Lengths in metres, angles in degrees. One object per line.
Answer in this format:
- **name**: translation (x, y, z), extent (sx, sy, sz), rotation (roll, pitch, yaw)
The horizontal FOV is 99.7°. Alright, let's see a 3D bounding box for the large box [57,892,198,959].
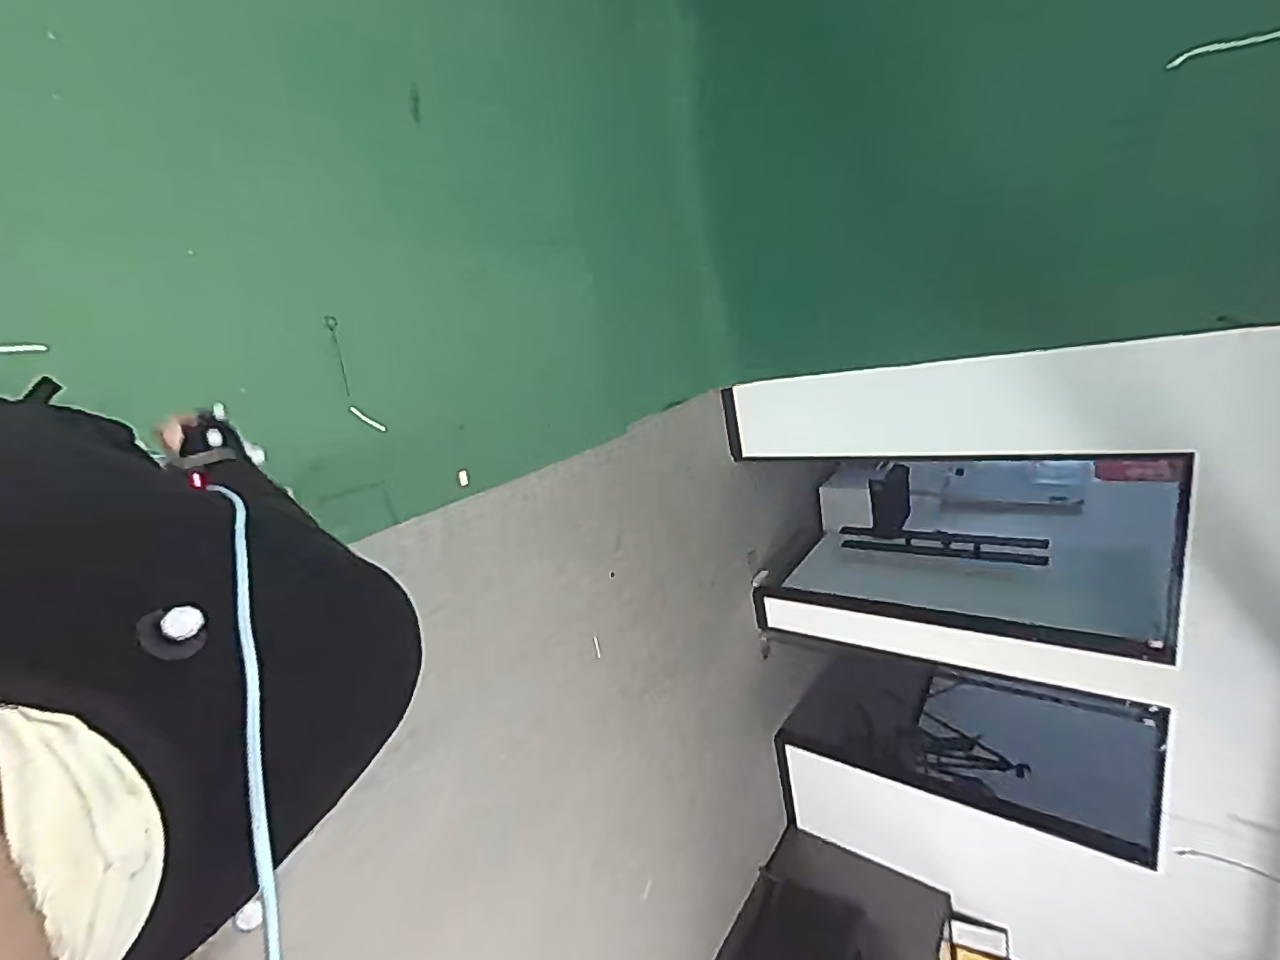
- **large box**: translation (-1.135, 1.191, 1.099), extent (0.408, 0.320, 0.320), rotation (-29, 114, -47)
